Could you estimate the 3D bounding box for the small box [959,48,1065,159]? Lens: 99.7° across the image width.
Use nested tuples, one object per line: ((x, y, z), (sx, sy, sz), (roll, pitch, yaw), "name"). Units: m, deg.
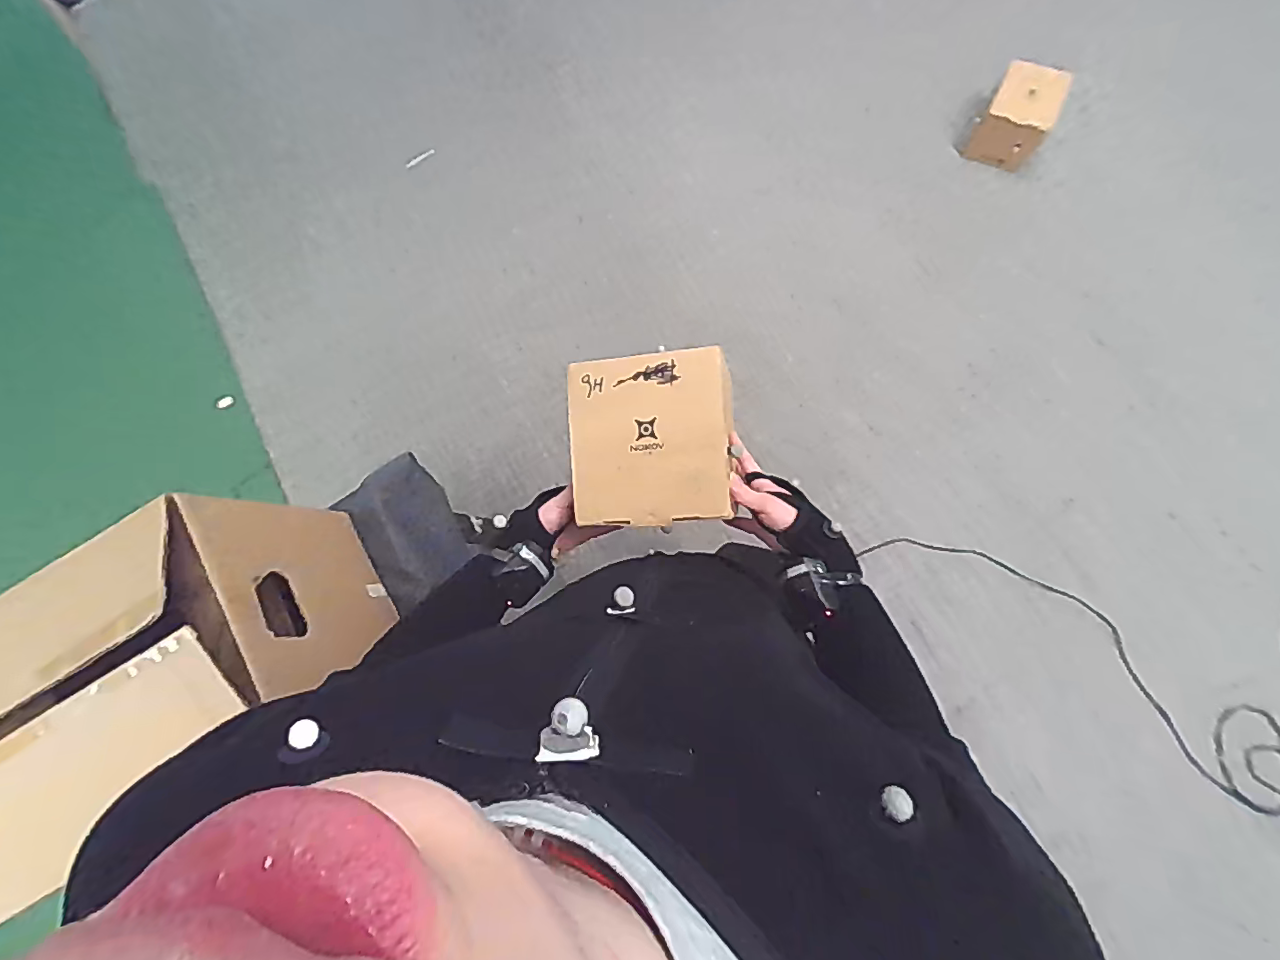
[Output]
((1.039, -1.056, 1.529), (0.168, 0.176, 0.179), (23, 84, 8), "small box")
